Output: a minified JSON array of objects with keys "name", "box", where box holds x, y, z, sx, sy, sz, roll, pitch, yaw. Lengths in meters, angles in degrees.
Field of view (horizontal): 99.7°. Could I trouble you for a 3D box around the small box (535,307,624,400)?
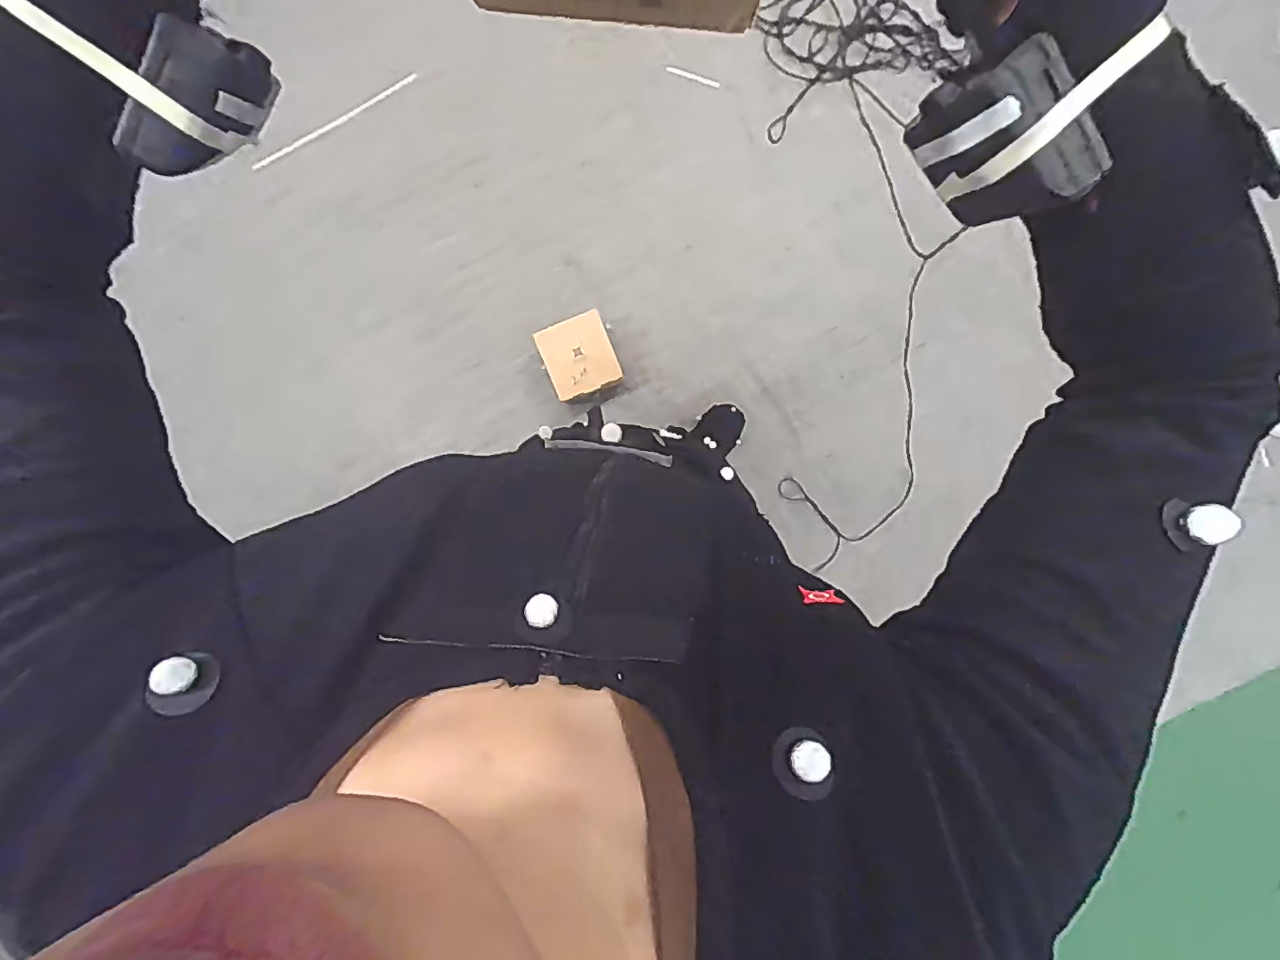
[{"name":"small box","box":[-0.147,-0.311,1.366,0.168,0.176,0.179,-22,97,2]}]
